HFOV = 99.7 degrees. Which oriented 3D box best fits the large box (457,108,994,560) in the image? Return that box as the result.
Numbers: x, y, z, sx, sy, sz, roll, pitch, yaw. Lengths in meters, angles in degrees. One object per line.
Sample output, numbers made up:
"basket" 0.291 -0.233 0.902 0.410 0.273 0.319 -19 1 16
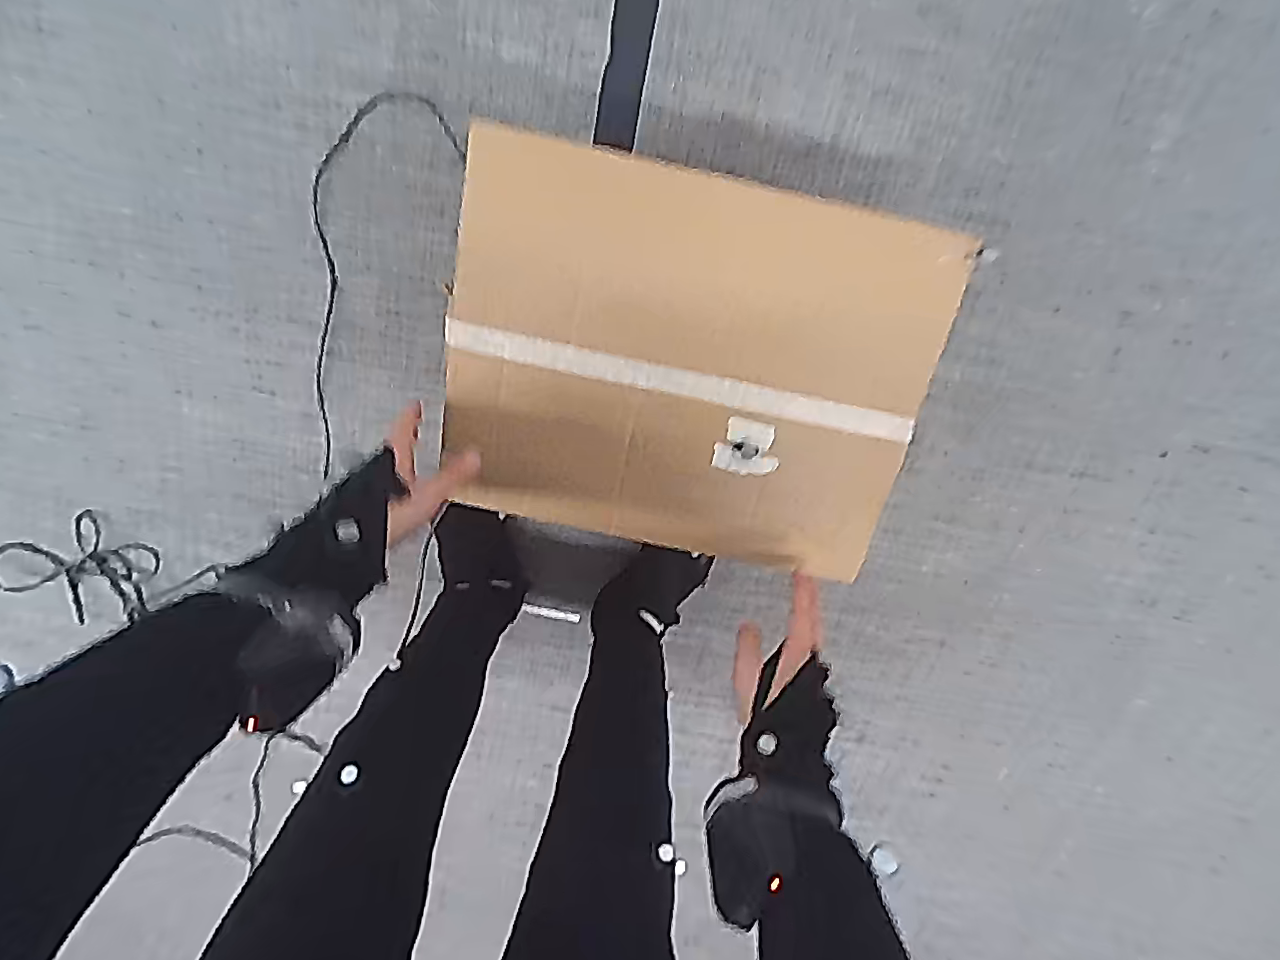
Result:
"large box" 0.055 -0.147 0.599 0.408 0.320 0.320 12 109 -2
